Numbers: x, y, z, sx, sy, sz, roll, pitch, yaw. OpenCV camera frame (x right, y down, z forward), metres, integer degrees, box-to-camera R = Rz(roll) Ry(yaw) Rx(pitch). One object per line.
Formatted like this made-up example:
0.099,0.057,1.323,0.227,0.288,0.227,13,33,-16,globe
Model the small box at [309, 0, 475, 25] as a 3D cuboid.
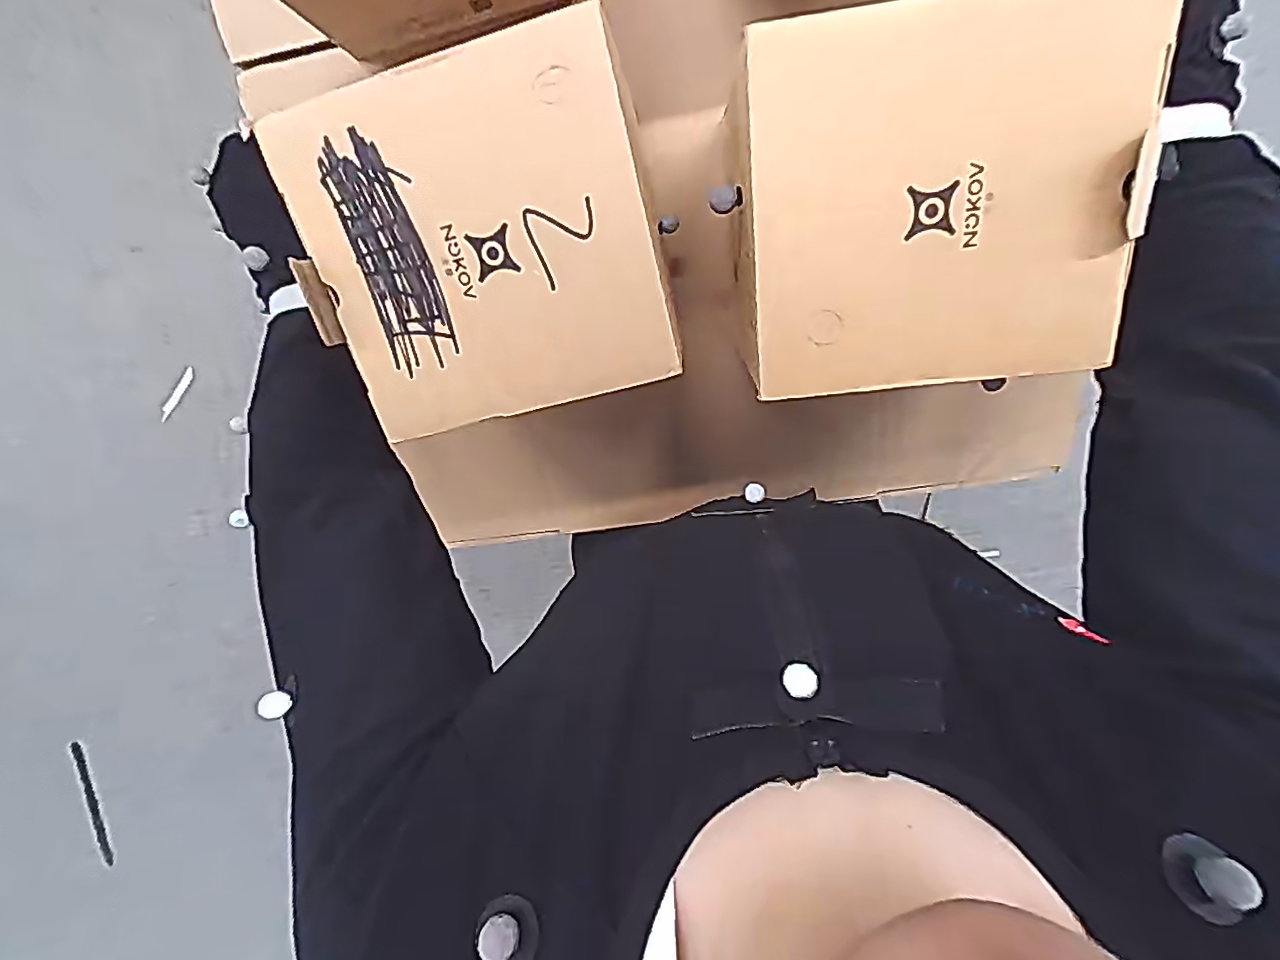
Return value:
-0.148,-0.375,0.272,0.168,0.176,0.179,-9,107,7,small box
